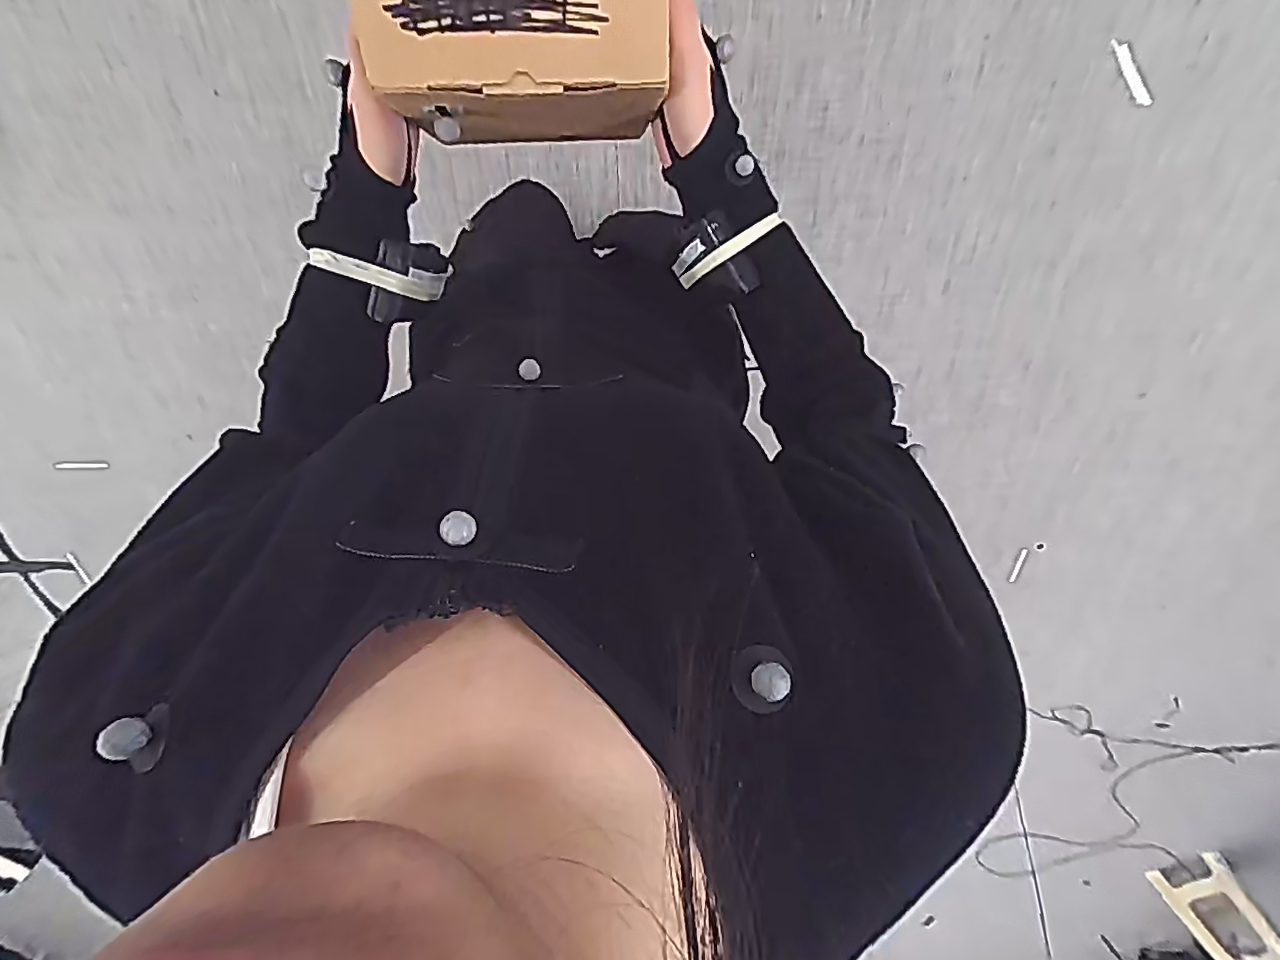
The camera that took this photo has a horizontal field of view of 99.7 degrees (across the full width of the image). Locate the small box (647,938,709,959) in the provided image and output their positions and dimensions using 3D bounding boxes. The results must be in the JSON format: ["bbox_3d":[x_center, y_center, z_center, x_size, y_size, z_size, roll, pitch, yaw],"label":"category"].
[{"bbox_3d":[0.108,1.412,1.507,0.179,0.176,0.168,-3,122,2],"label":"small box"}]
